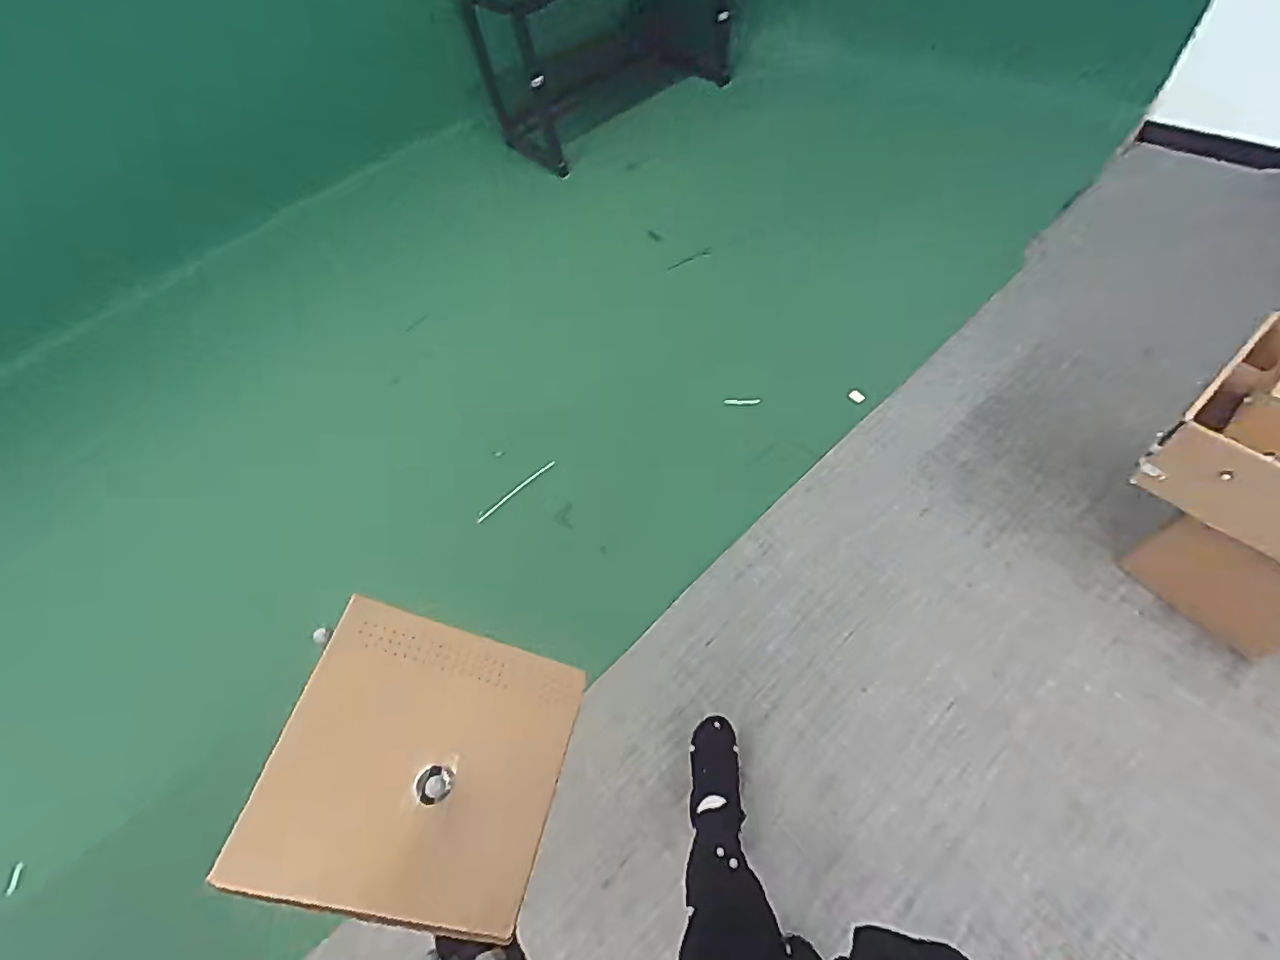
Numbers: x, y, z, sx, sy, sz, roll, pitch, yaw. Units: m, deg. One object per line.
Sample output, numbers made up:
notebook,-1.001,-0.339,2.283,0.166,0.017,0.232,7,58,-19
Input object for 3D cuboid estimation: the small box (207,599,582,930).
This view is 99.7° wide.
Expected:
small box,-0.168,0.198,0.413,0.179,0.168,0.176,25,62,-15
